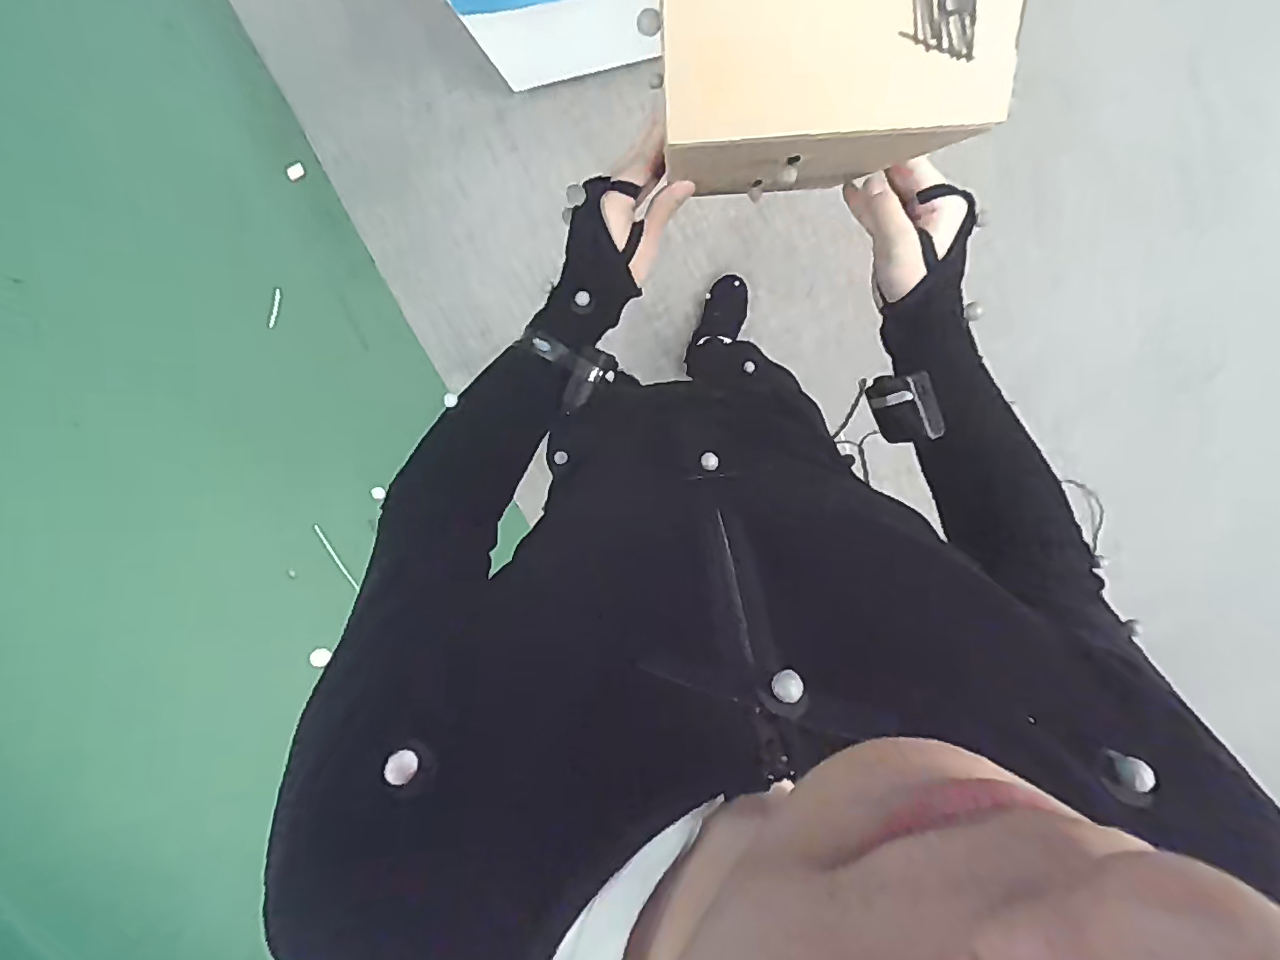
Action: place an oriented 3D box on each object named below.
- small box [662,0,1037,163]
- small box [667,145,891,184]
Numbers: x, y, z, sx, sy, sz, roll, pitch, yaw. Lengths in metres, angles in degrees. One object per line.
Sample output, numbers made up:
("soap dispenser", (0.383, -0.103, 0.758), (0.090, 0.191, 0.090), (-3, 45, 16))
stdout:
("small box", (0.101, -0.291, 0.312), (0.179, 0.176, 0.168), (-1, 113, 5))
("small box", (0.111, -0.357, 0.462), (0.179, 0.176, 0.168), (-1, 114, 4))
